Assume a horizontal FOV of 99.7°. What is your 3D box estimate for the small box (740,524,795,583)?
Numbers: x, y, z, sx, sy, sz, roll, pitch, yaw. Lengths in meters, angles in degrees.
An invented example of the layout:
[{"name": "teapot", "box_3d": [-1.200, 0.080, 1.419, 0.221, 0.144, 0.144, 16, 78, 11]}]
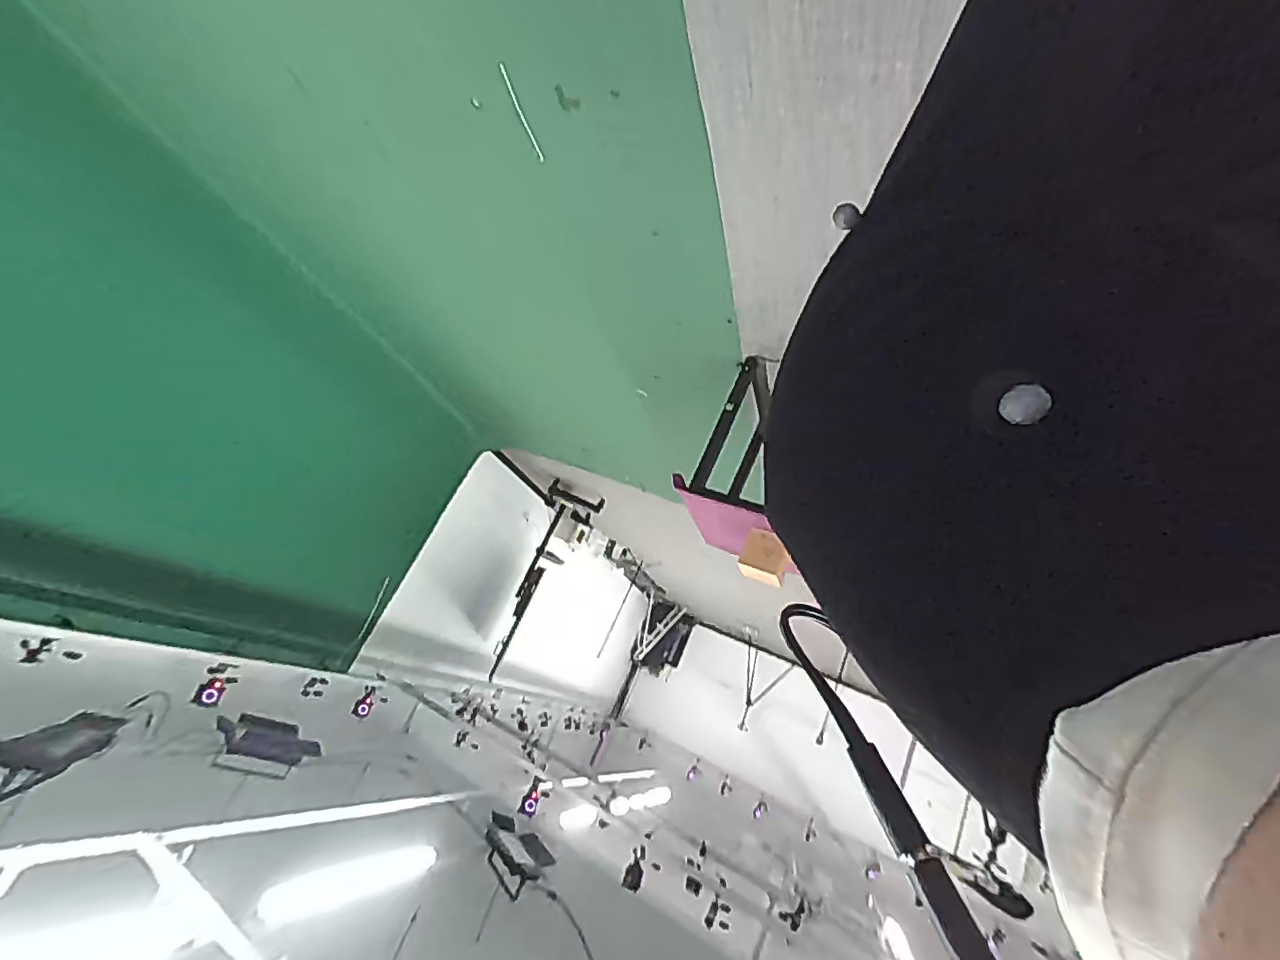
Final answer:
[{"name": "small box", "box_3d": [0.519, 0.295, 2.187, 0.168, 0.176, 0.179, 16, 162, 27]}]
